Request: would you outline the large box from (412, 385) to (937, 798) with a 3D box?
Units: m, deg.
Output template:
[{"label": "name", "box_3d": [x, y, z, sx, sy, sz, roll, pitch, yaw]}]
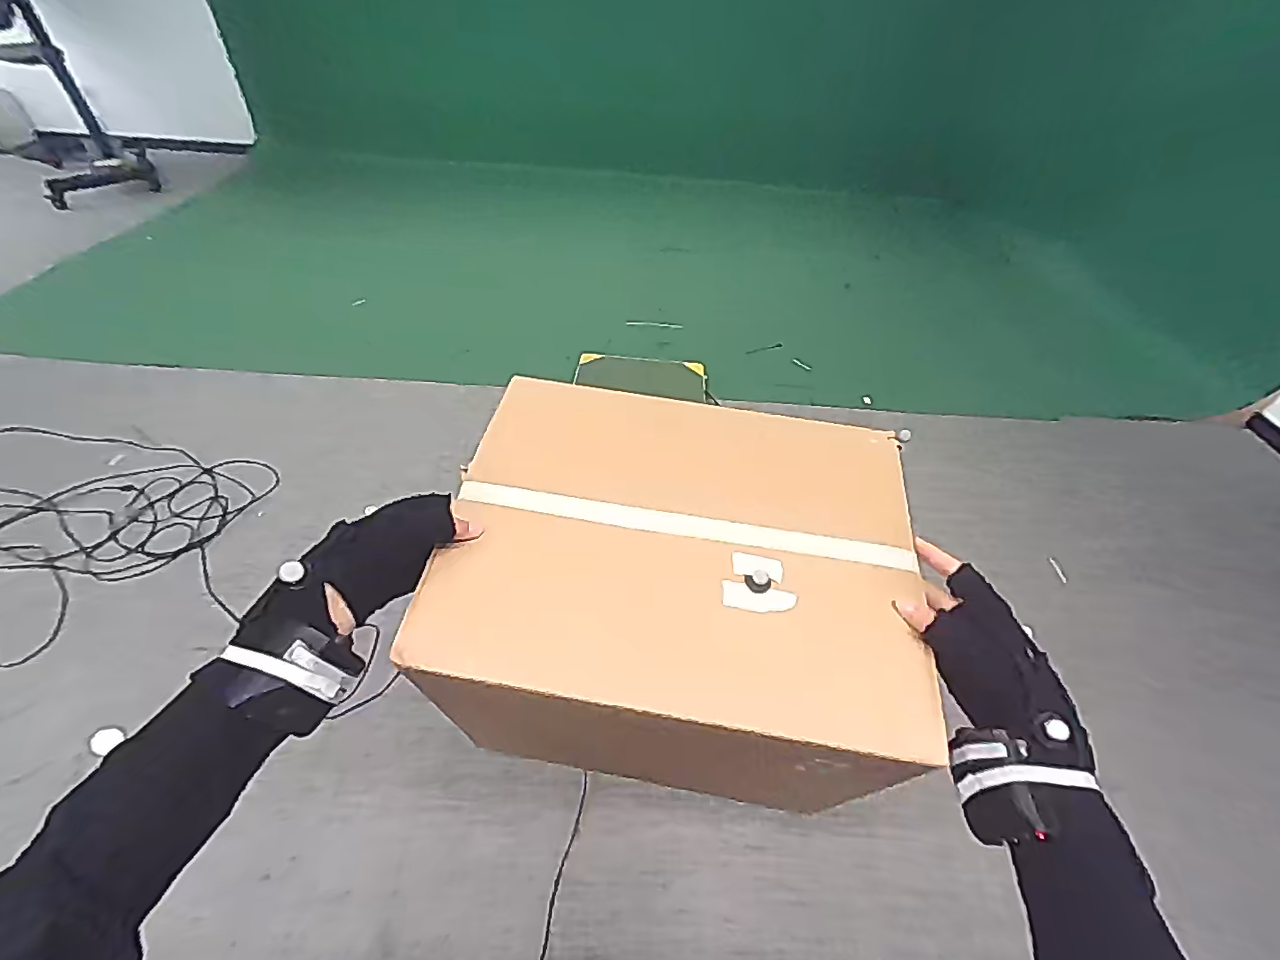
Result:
[{"label": "large box", "box_3d": [0.032, 0.132, 0.606, 0.408, 0.320, 0.320, 9, 53, 3]}]
